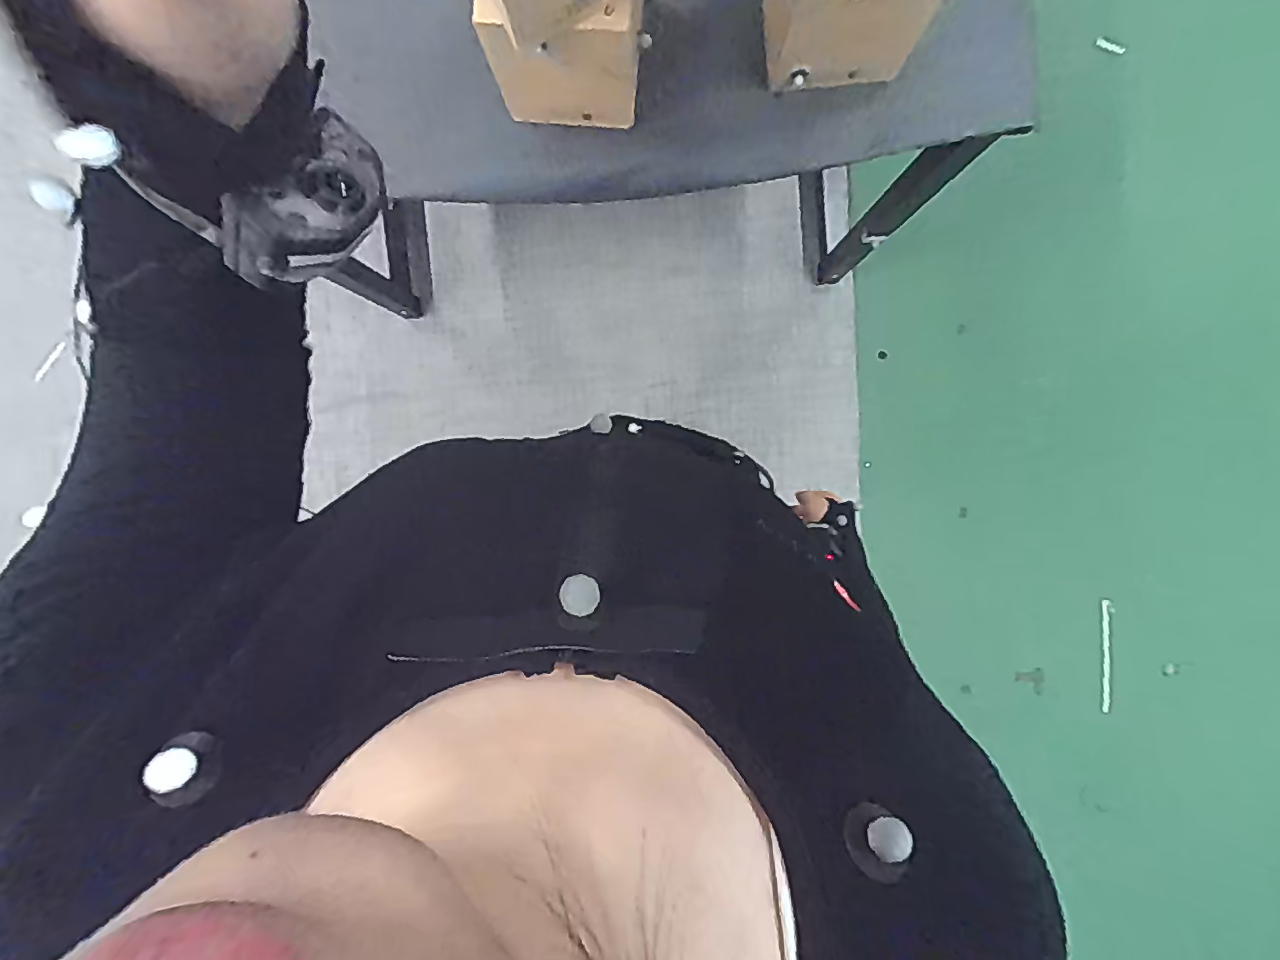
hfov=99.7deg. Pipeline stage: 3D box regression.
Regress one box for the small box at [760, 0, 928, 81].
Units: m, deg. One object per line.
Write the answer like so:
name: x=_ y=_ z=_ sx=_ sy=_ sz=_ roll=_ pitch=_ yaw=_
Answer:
small box: x=0.238 y=-0.602 z=0.628 sx=0.168 sy=0.176 sz=0.179 roll=-4 pitch=91 yaw=2

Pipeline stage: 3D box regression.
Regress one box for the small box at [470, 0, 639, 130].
small box: x=-0.088 y=-0.558 z=0.637 sx=0.168 sy=0.176 sz=0.179 roll=4 pitch=92 yaw=1
